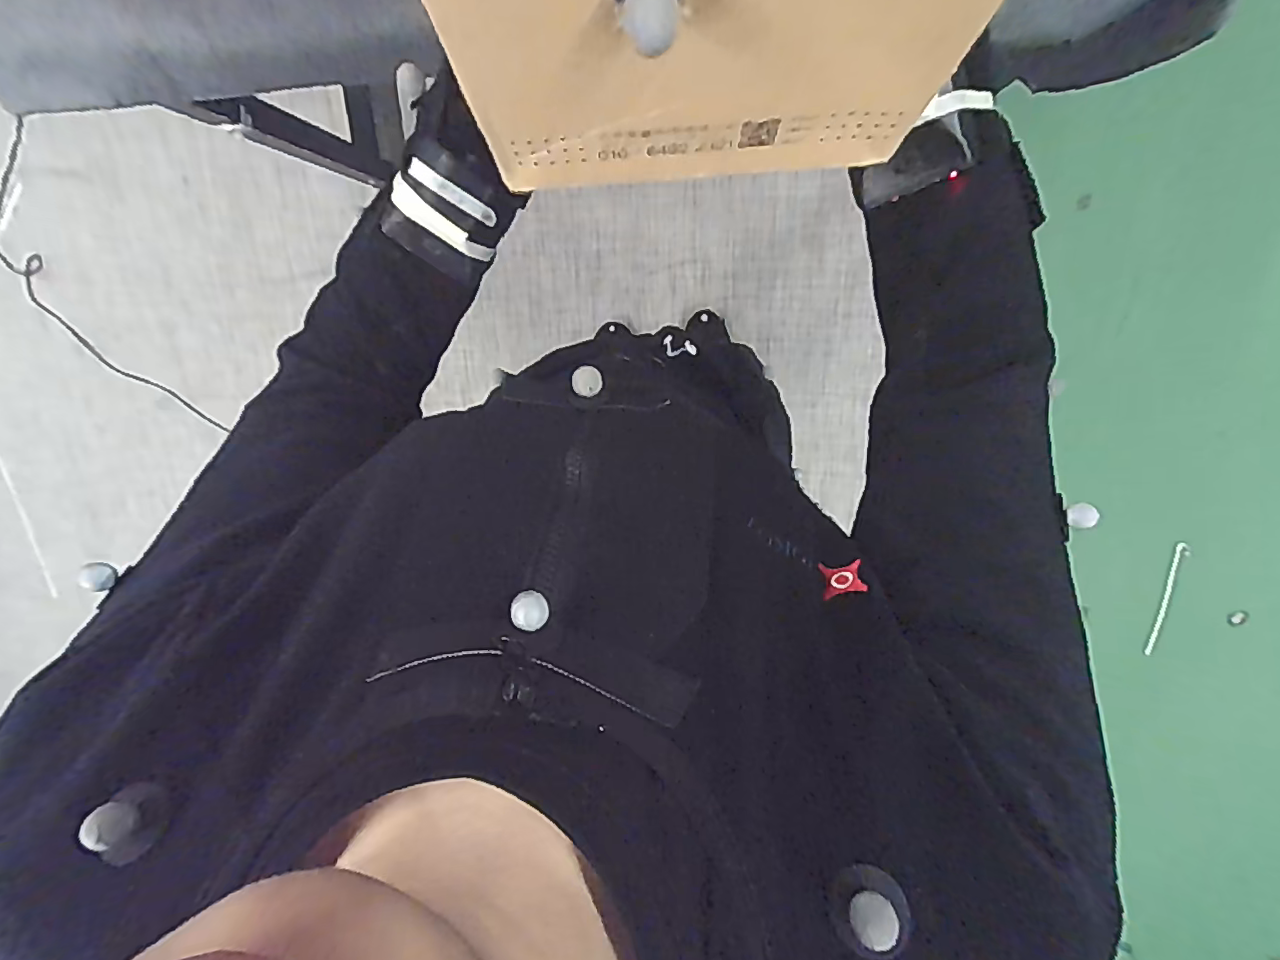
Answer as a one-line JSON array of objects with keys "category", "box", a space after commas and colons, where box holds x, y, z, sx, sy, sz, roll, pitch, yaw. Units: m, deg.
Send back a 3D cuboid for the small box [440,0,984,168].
[{"category": "small box", "box": [0.020, -0.216, 0.154, 0.168, 0.176, 0.179, -4, 88, 1]}]
